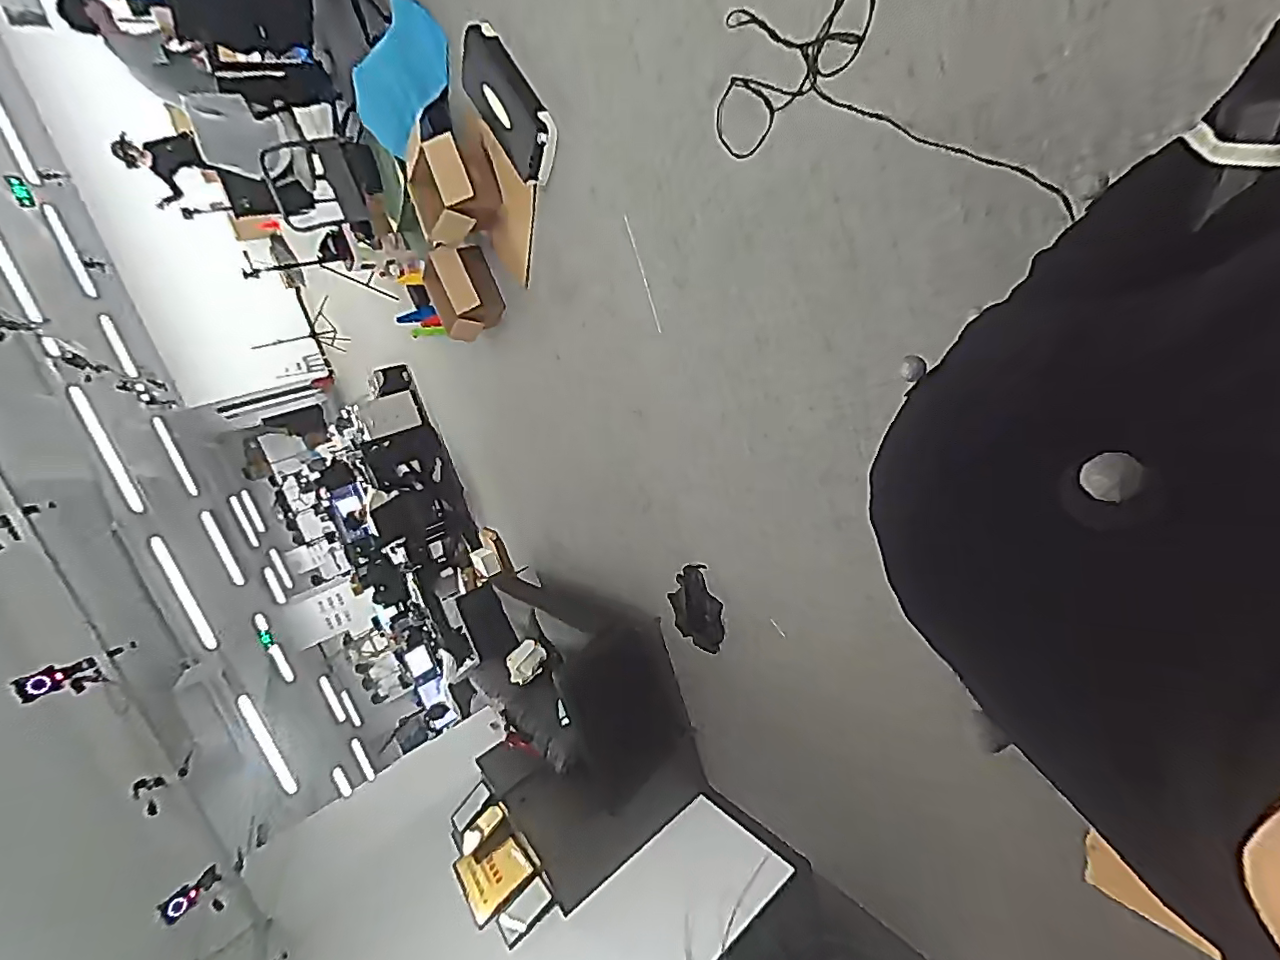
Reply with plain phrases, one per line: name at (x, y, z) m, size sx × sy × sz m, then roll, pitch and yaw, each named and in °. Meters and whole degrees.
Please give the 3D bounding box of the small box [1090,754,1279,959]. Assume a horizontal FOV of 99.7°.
small box at (0.796, 0.545, 0.787) m, size 0.179 × 0.176 × 0.168 m, roll 14°, pitch 124°, yaw 54°
